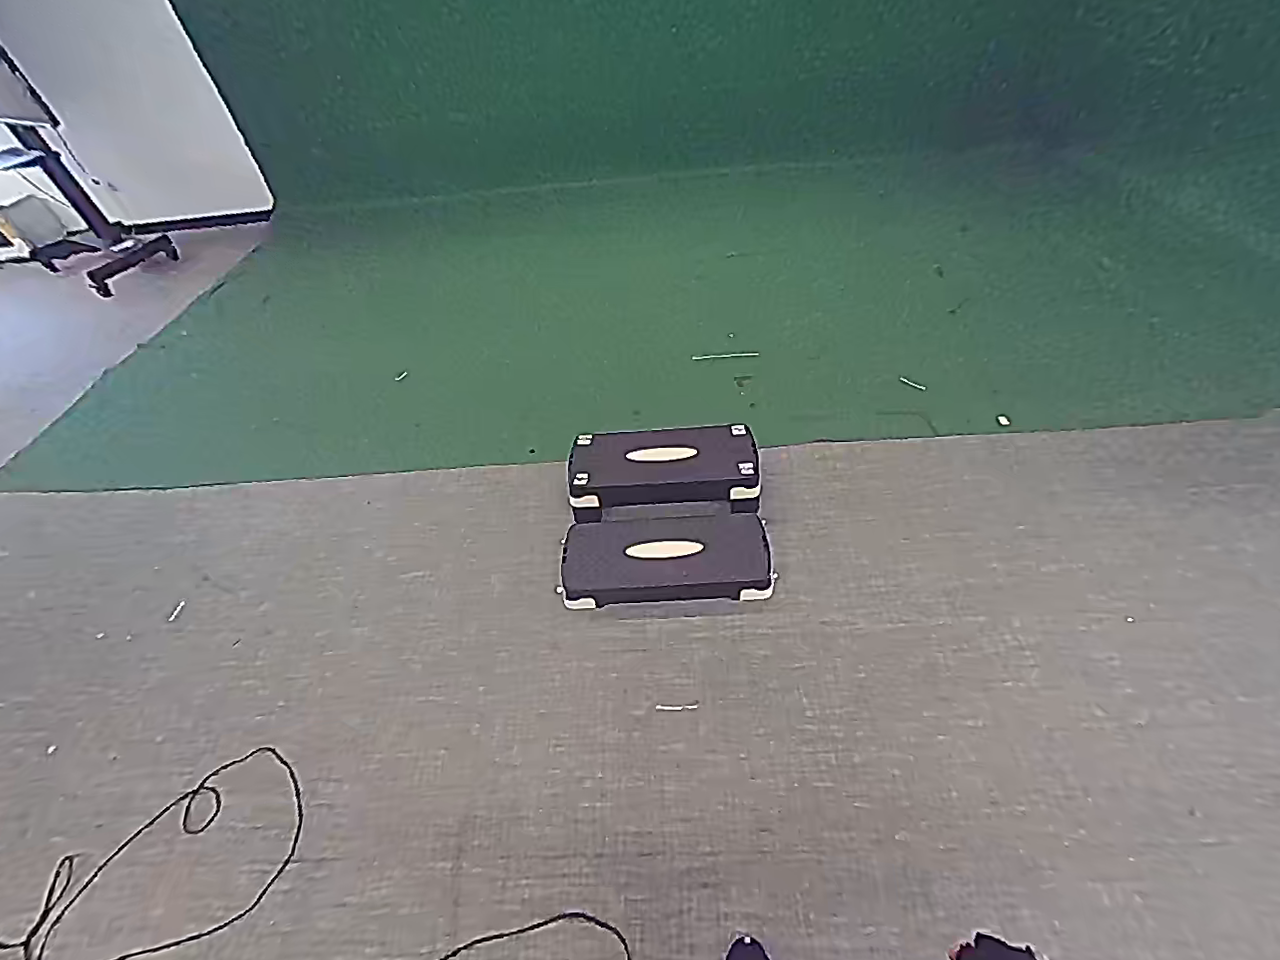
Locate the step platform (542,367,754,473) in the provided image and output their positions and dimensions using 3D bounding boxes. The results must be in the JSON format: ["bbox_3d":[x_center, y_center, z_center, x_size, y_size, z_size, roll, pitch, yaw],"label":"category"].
[{"bbox_3d":[0.029,-0.201,1.824,0.684,0.204,0.286,-4,47,4],"label":"step platform"}]
